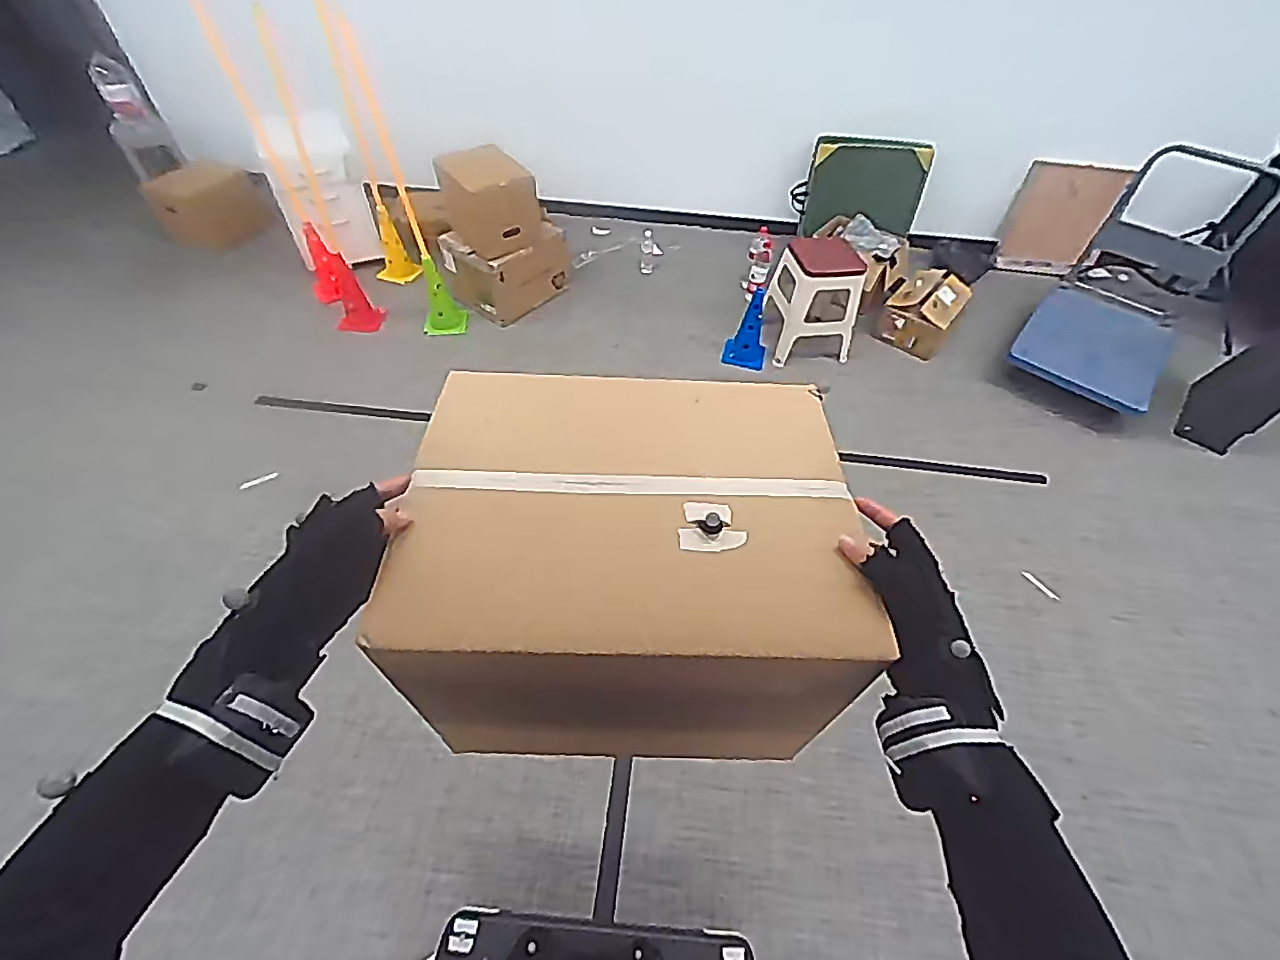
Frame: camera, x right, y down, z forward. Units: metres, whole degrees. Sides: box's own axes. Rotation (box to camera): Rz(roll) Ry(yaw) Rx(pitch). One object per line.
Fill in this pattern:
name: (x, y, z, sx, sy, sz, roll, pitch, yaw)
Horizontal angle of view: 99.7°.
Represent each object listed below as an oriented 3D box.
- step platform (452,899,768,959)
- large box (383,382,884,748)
step platform: (-0.066, 1.091, 1.138, 0.684, 0.204, 0.286, 6, 51, 0)
large box: (-0.011, 0.108, 0.628, 0.408, 0.320, 0.320, 3, 51, -2)
